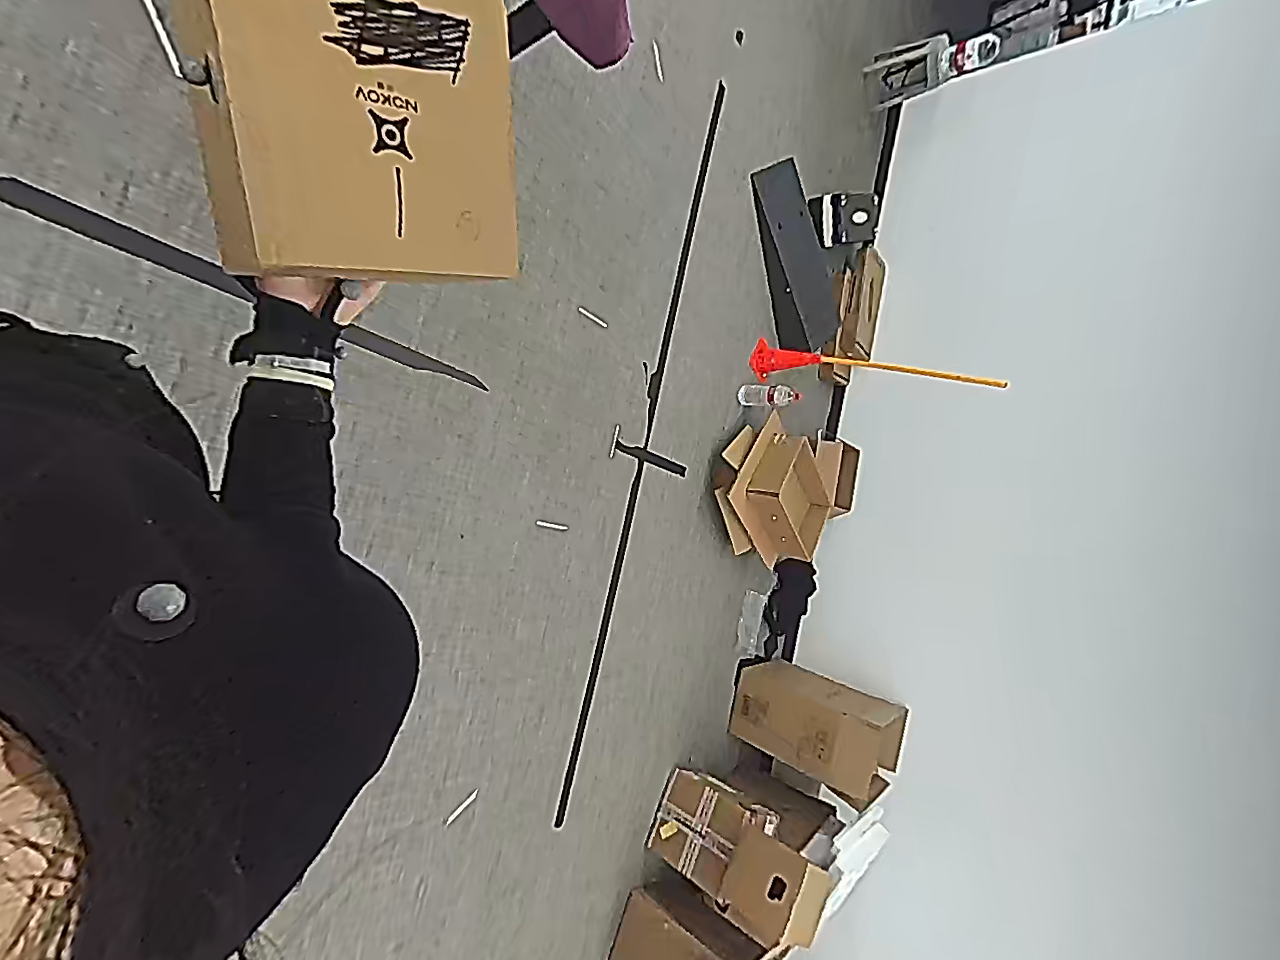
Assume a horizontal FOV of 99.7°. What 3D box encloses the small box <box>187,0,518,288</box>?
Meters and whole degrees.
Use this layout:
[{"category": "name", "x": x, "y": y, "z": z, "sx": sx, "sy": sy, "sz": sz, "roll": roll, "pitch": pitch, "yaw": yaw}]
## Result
[{"category": "small box", "x": -0.206, "y": -0.238, "z": 0.394, "sx": 0.168, "sy": 0.176, "sz": 0.179, "roll": -14, "pitch": 114, "yaw": -40}]
